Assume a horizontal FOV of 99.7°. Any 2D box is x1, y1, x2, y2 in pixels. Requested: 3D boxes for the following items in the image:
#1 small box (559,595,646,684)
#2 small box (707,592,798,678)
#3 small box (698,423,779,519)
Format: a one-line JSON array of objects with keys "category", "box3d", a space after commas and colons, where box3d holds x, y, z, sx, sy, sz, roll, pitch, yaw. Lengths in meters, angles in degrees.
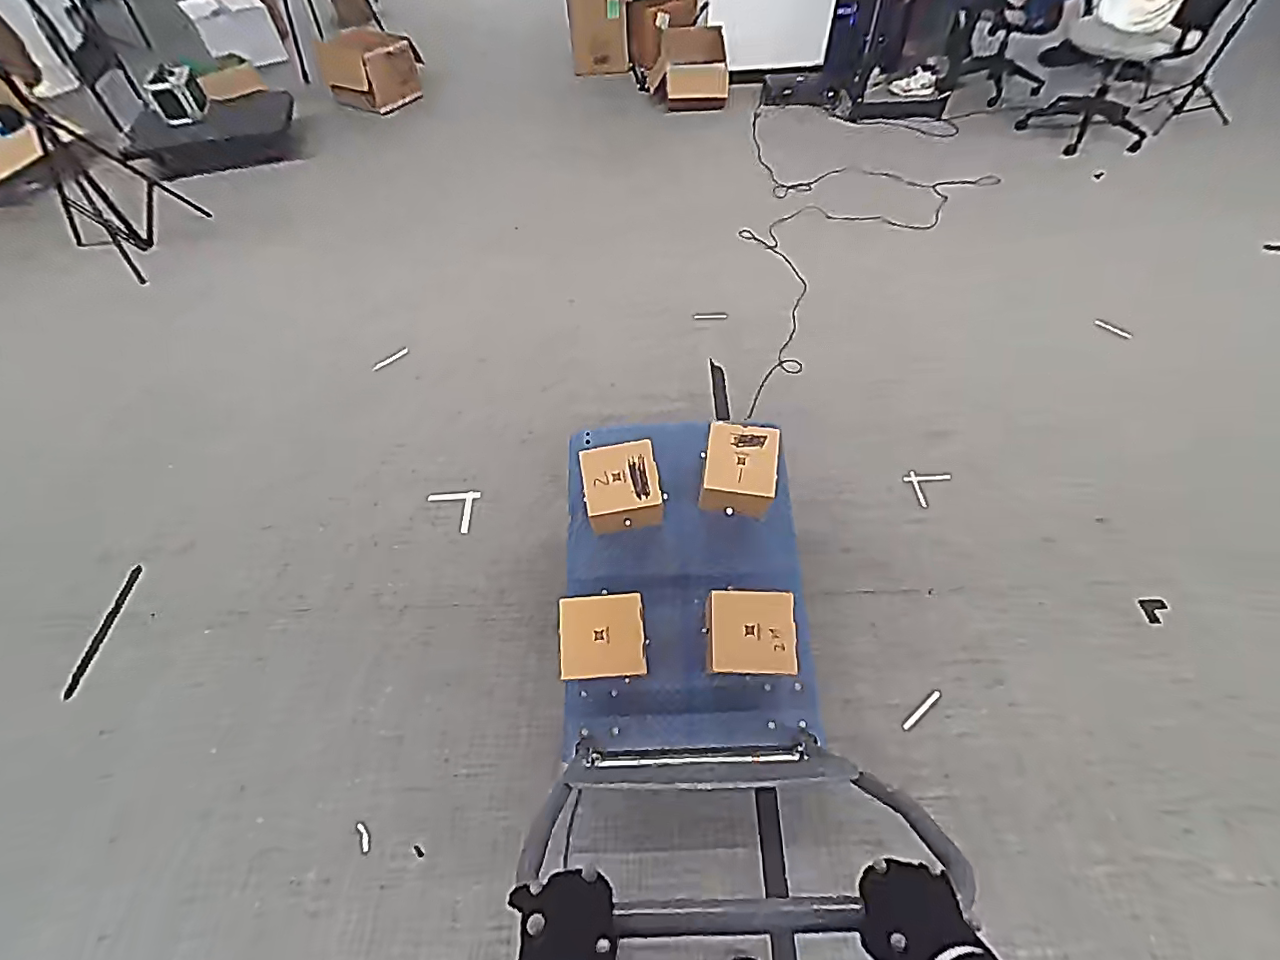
[{"category": "small box", "box3d": [-0.079, 0.358, 1.199, 0.179, 0.176, 0.168, -4, 69, -2]}, {"category": "small box", "box3d": [0.239, 0.346, 1.194, 0.179, 0.176, 0.168, 1, 69, 2]}, {"category": "small box", "box3d": [0.238, -0.019, 1.335, 0.168, 0.176, 0.179, 7, 70, 5]}]
